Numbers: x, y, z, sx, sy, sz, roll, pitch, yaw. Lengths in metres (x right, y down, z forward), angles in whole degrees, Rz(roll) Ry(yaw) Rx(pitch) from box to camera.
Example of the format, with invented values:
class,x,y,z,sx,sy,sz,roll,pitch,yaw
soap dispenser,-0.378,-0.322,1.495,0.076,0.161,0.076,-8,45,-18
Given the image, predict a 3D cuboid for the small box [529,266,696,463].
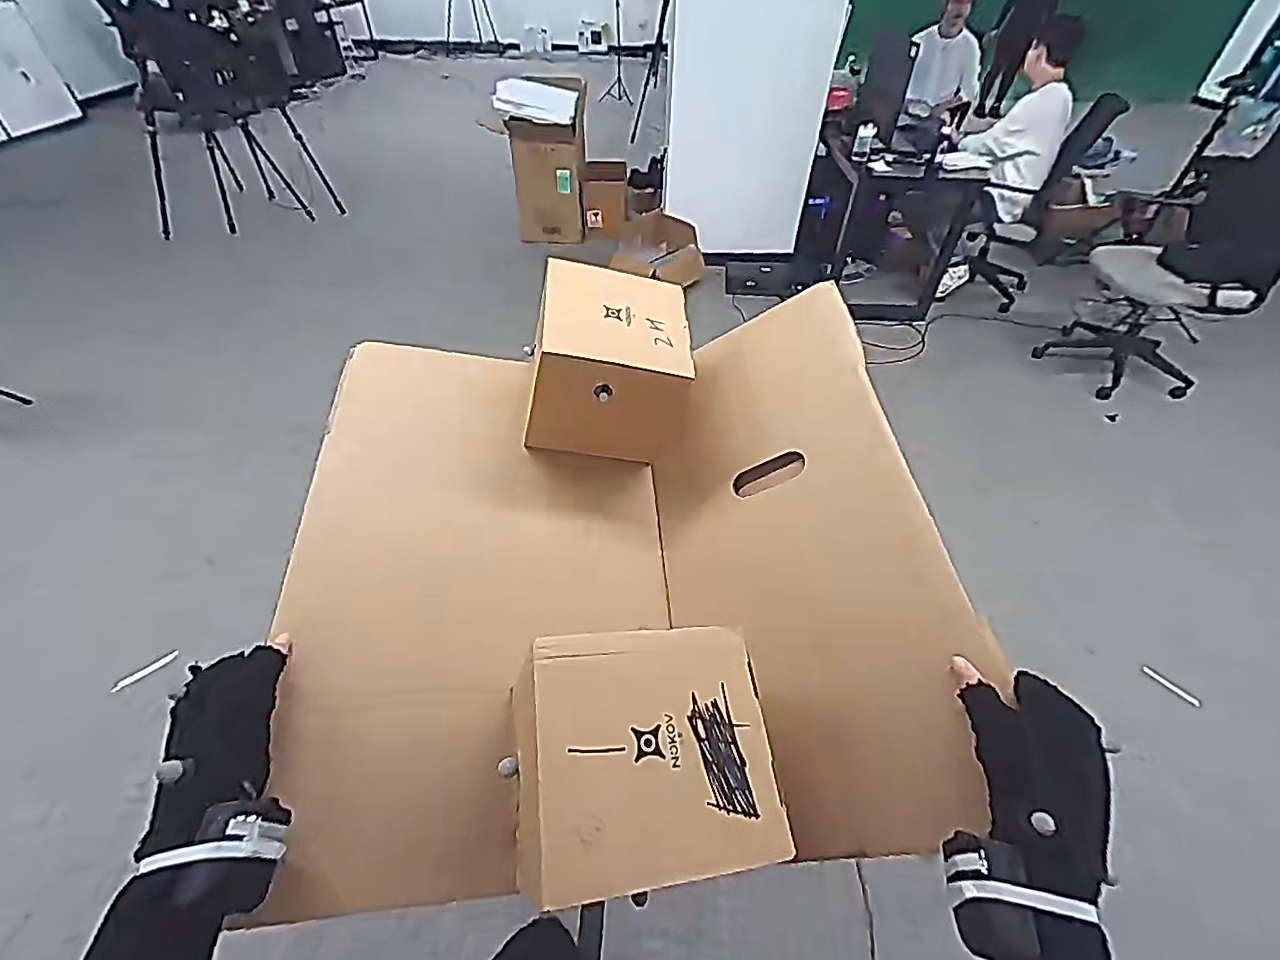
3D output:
class,x,y,z,sx,sy,sz,roll,pitch,yaw
small box,-0.043,-0.139,0.699,0.179,0.176,0.168,9,55,-15
